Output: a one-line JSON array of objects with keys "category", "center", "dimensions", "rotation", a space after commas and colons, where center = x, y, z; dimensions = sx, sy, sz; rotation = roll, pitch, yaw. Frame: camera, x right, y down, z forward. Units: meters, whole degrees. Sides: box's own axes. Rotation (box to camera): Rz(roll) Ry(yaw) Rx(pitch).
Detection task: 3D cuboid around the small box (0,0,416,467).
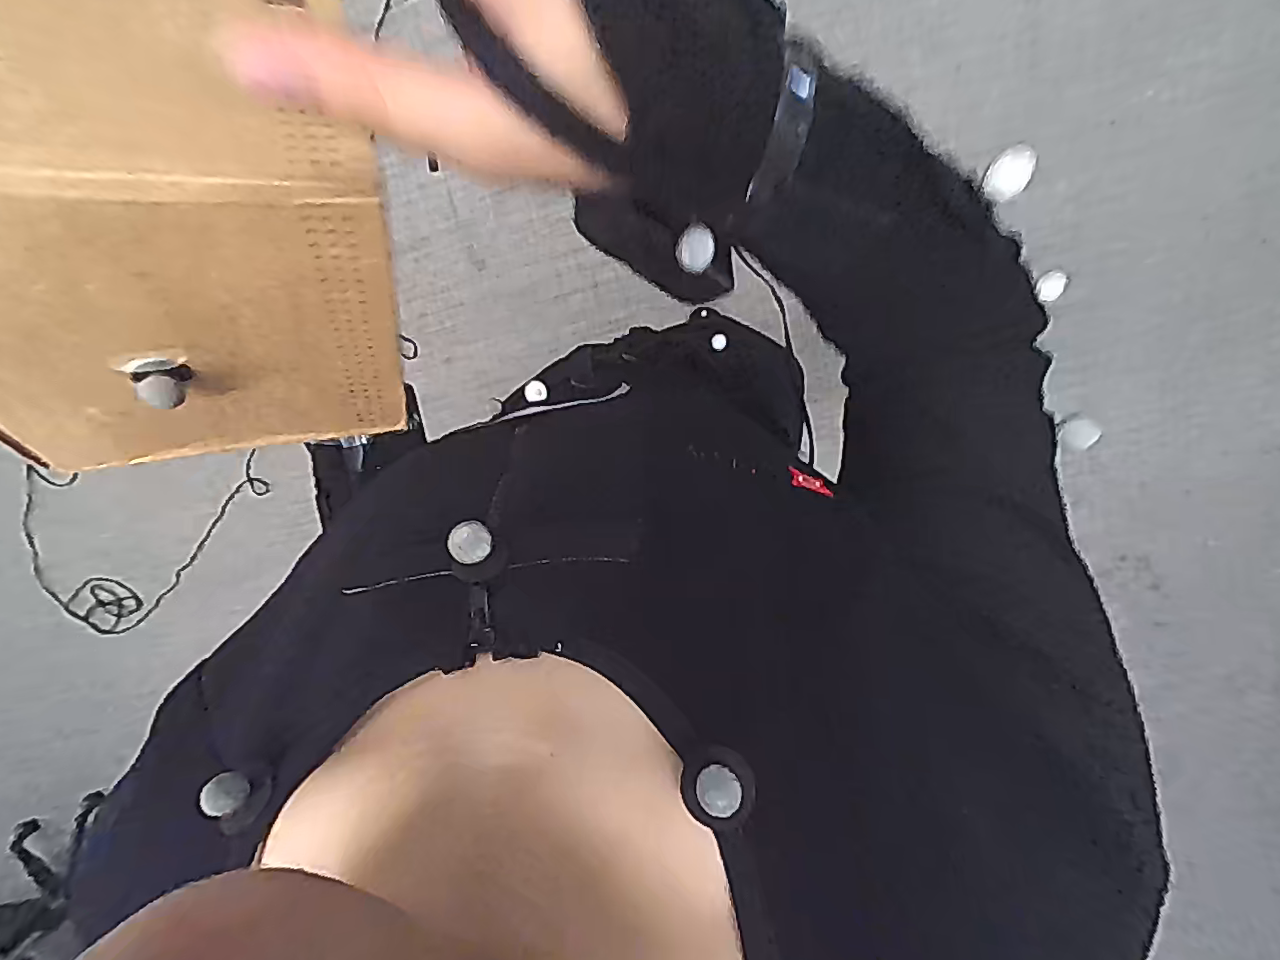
[{"category": "small box", "center": [-0.214, -0.124, 0.265], "dimensions": [0.176, 0.179, 0.168], "rotation": [-12, 70, -23]}]
